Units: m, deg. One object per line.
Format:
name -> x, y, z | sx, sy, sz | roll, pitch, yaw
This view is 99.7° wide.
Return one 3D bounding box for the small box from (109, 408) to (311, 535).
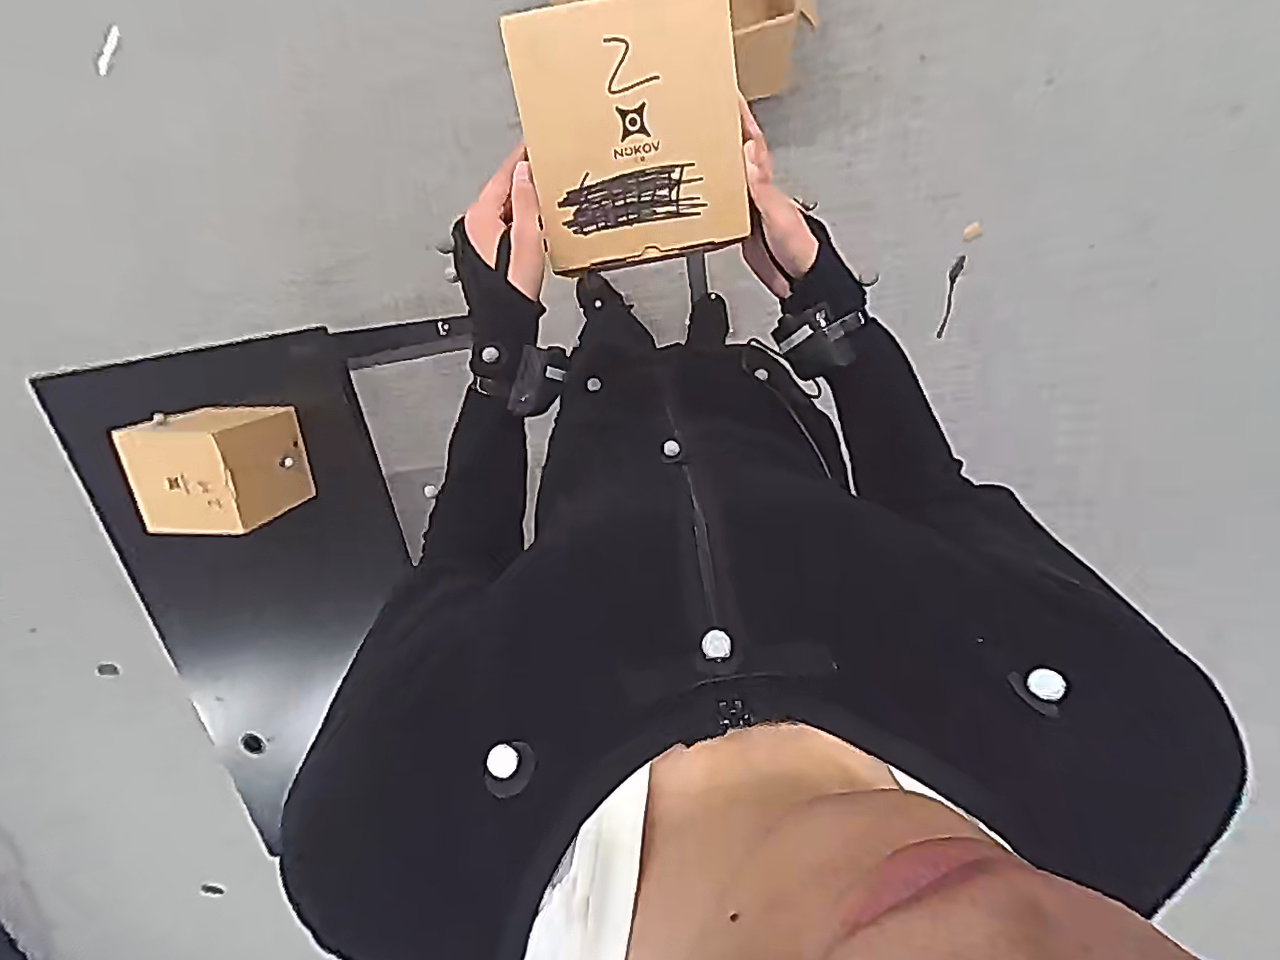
small box -> -0.694, -0.021, 0.894 | 0.179, 0.176, 0.168 | 0, 111, 7
